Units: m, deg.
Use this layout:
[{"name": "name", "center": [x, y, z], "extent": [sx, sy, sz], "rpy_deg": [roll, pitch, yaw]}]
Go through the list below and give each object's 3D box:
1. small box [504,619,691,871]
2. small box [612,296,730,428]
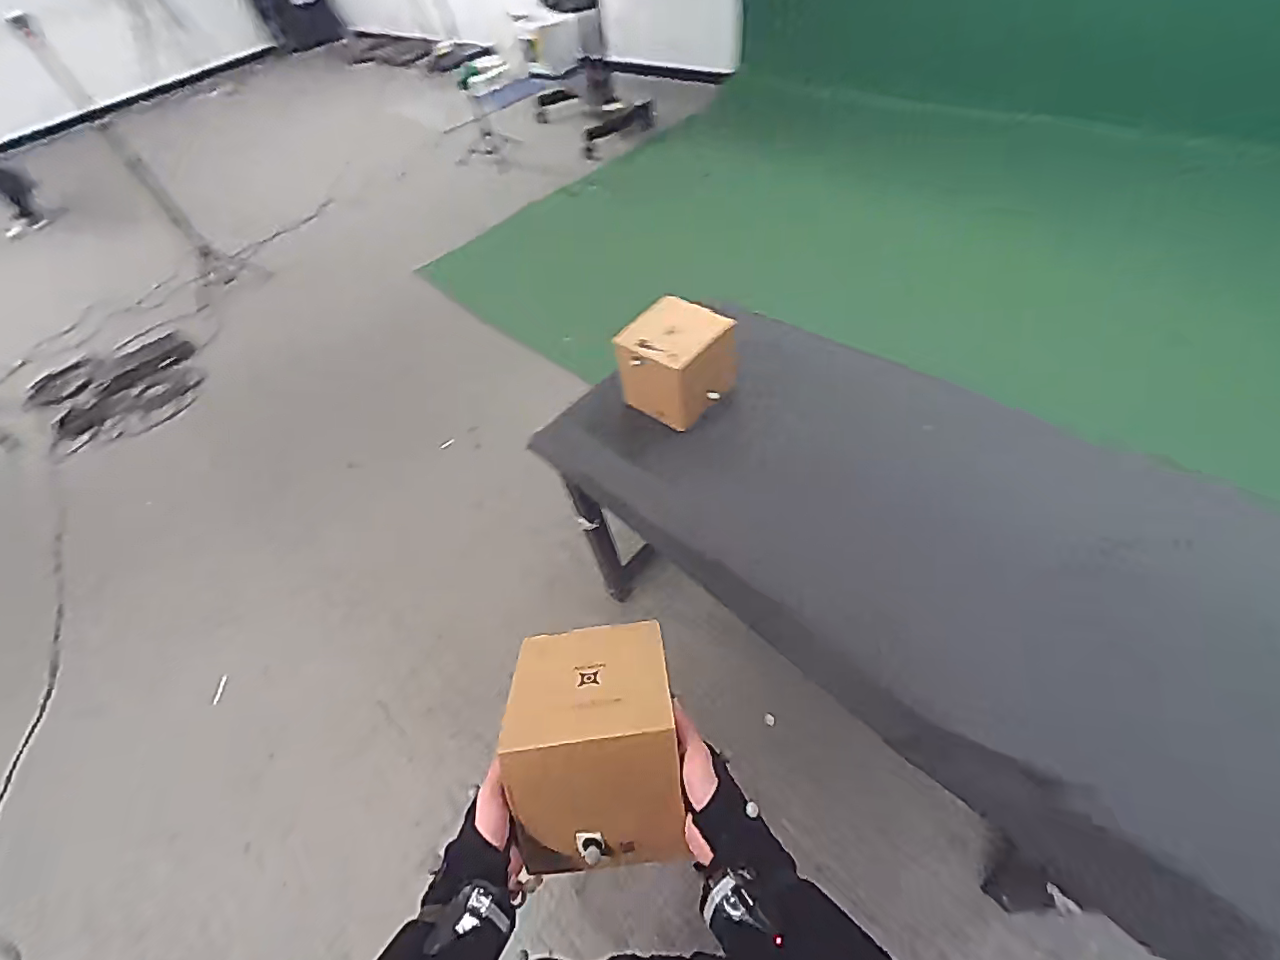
[{"name": "small box", "center": [-0.038, 0.278, 0.590], "extent": [0.168, 0.176, 0.179], "rpy_deg": [-6, 20, 0]}, {"name": "small box", "center": [0.066, -0.241, 1.108], "extent": [0.168, 0.176, 0.179], "rpy_deg": [32, 62, 29]}]
